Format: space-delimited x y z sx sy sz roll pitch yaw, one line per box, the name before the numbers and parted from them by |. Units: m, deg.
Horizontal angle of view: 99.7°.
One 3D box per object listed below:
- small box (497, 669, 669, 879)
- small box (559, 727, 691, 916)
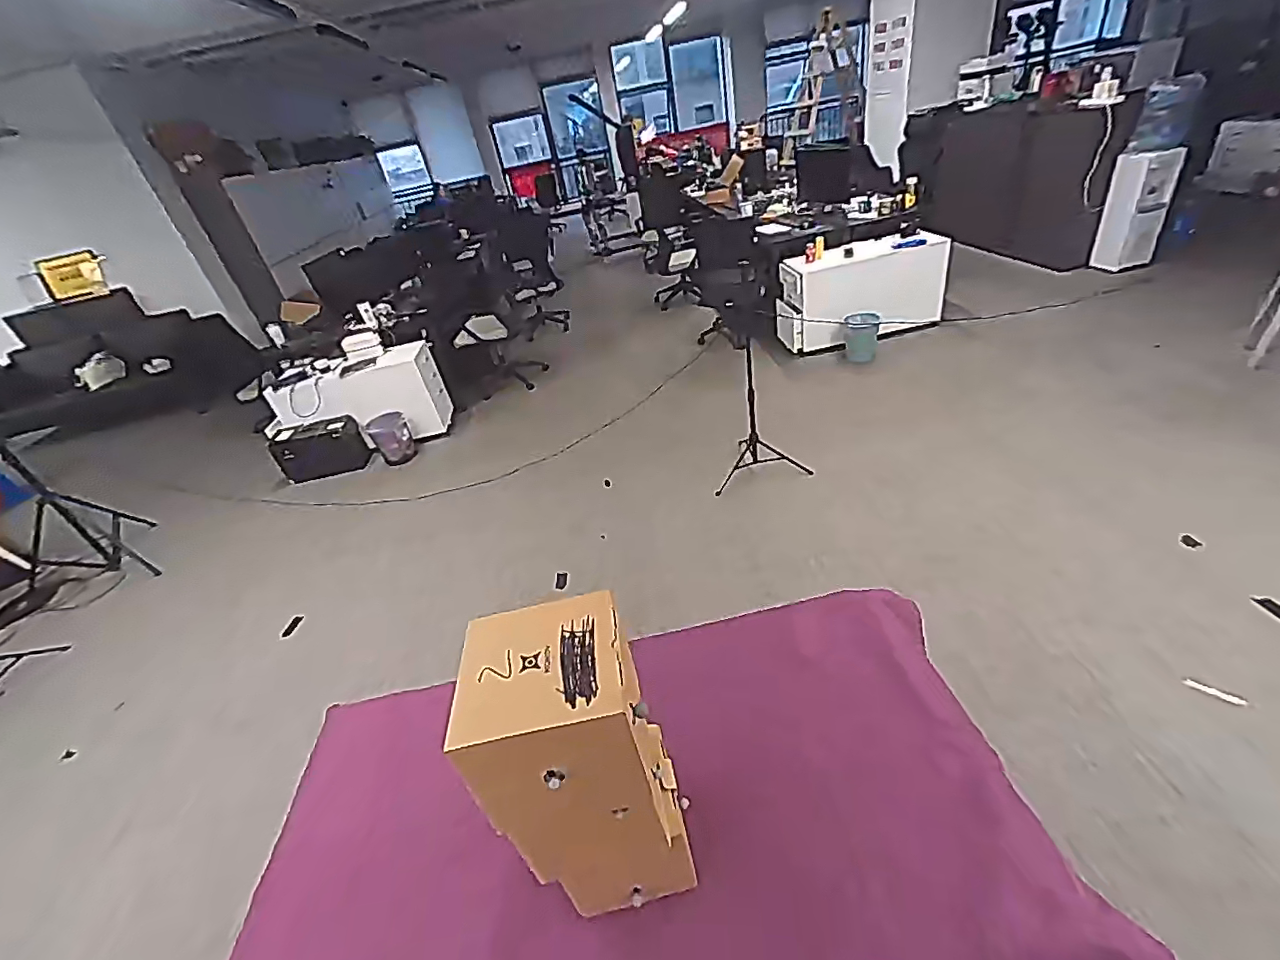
small box | -0.071 0.385 0.711 0.179 0.176 0.168 -13 33 -2
small box | -0.025 0.509 0.809 0.179 0.176 0.168 -13 32 -2
